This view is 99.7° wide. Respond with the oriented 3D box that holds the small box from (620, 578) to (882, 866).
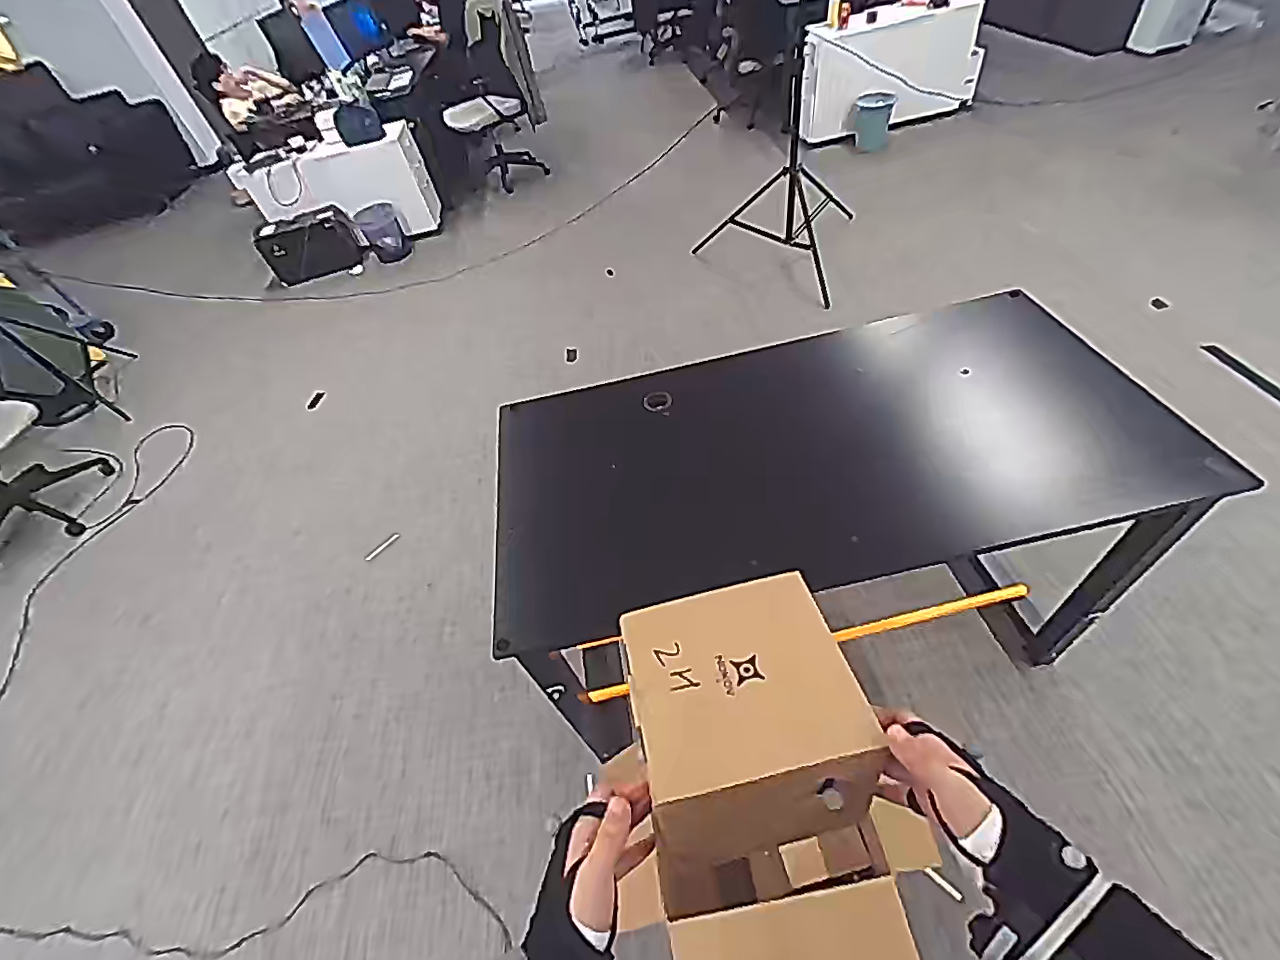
[{"bbox_3d":[0.089,0.220,0.495,0.179,0.176,0.168,-13,40,-2],"label":"small box"}]
